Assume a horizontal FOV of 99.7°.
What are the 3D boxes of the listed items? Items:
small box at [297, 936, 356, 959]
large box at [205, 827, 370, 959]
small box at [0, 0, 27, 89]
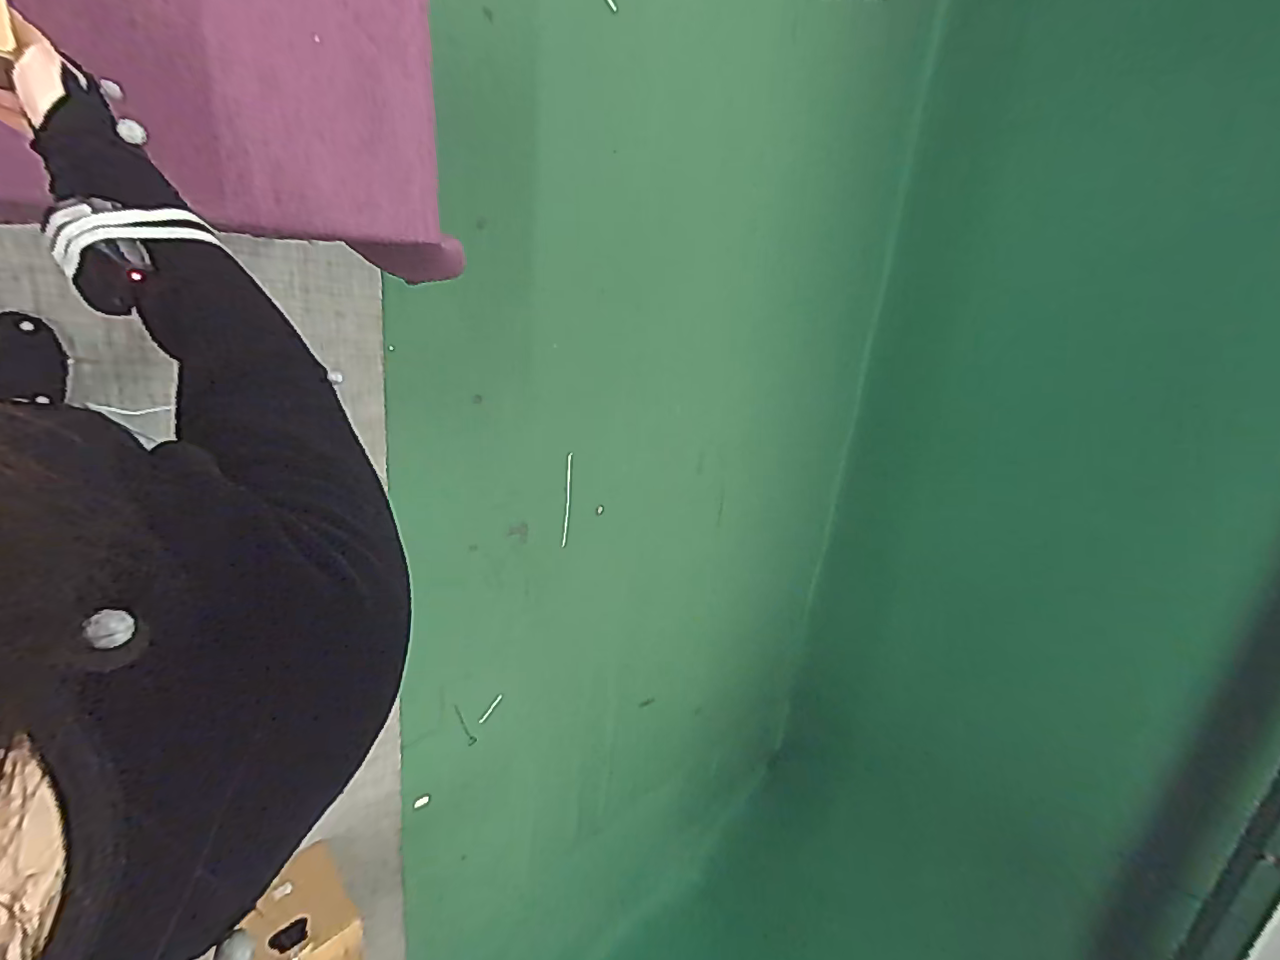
[{"bbox_3d":[-0.839,1.372,1.421,0.168,0.176,0.179,0,106,-49],"label":"small box"},{"bbox_3d":[-1.021,1.351,1.588,0.320,0.320,0.408,-14,118,-44],"label":"large box"},{"bbox_3d":[-0.524,-0.377,0.337,0.168,0.176,0.179,-14,117,-44],"label":"small box"}]
